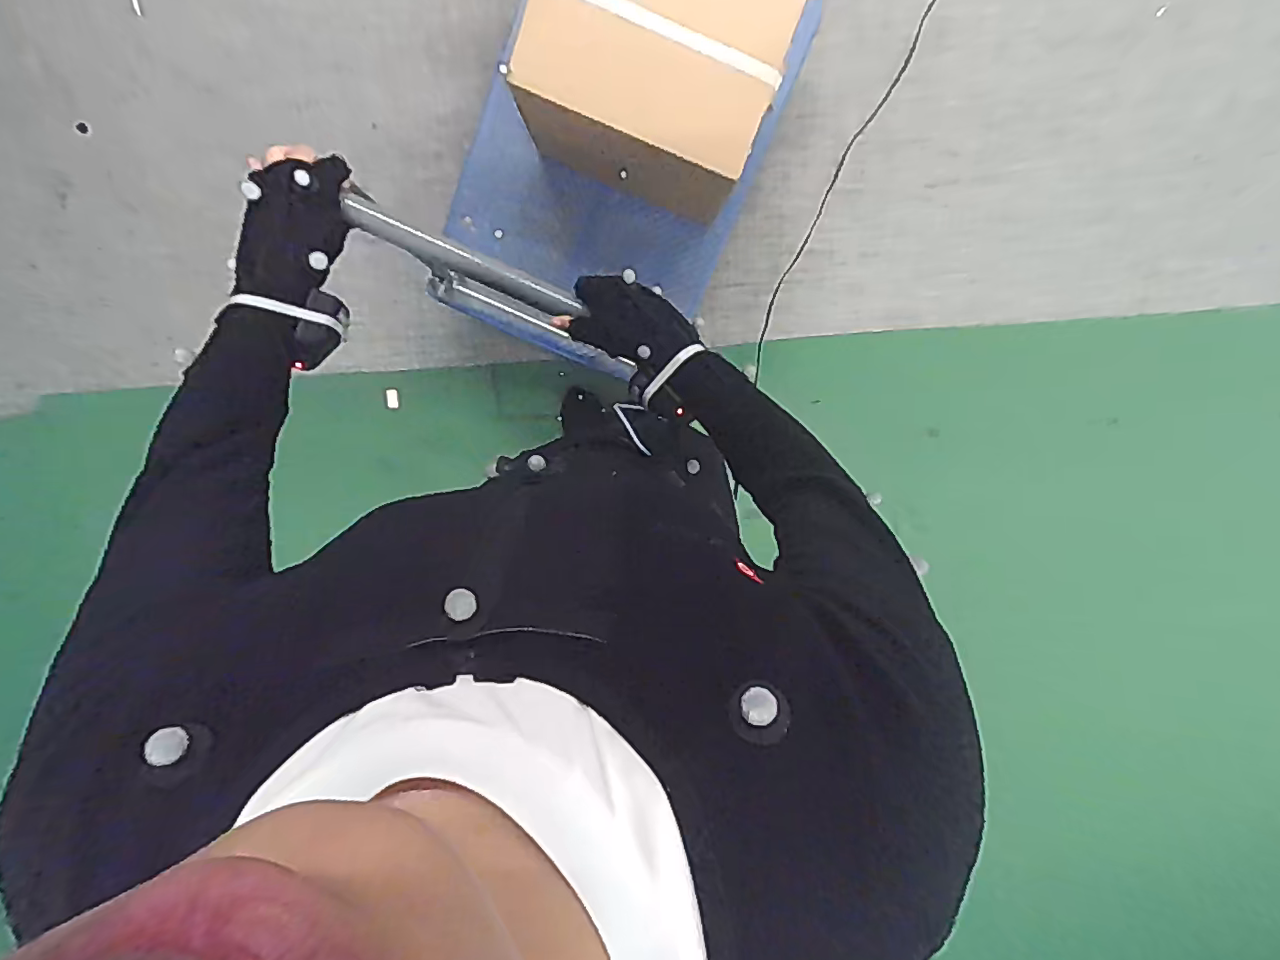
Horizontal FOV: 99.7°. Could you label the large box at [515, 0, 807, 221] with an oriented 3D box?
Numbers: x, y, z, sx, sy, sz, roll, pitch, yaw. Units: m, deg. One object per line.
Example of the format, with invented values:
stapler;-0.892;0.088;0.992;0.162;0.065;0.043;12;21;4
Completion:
large box;0.036;-0.733;0.996;0.408;0.320;0.320;20;101;-4
